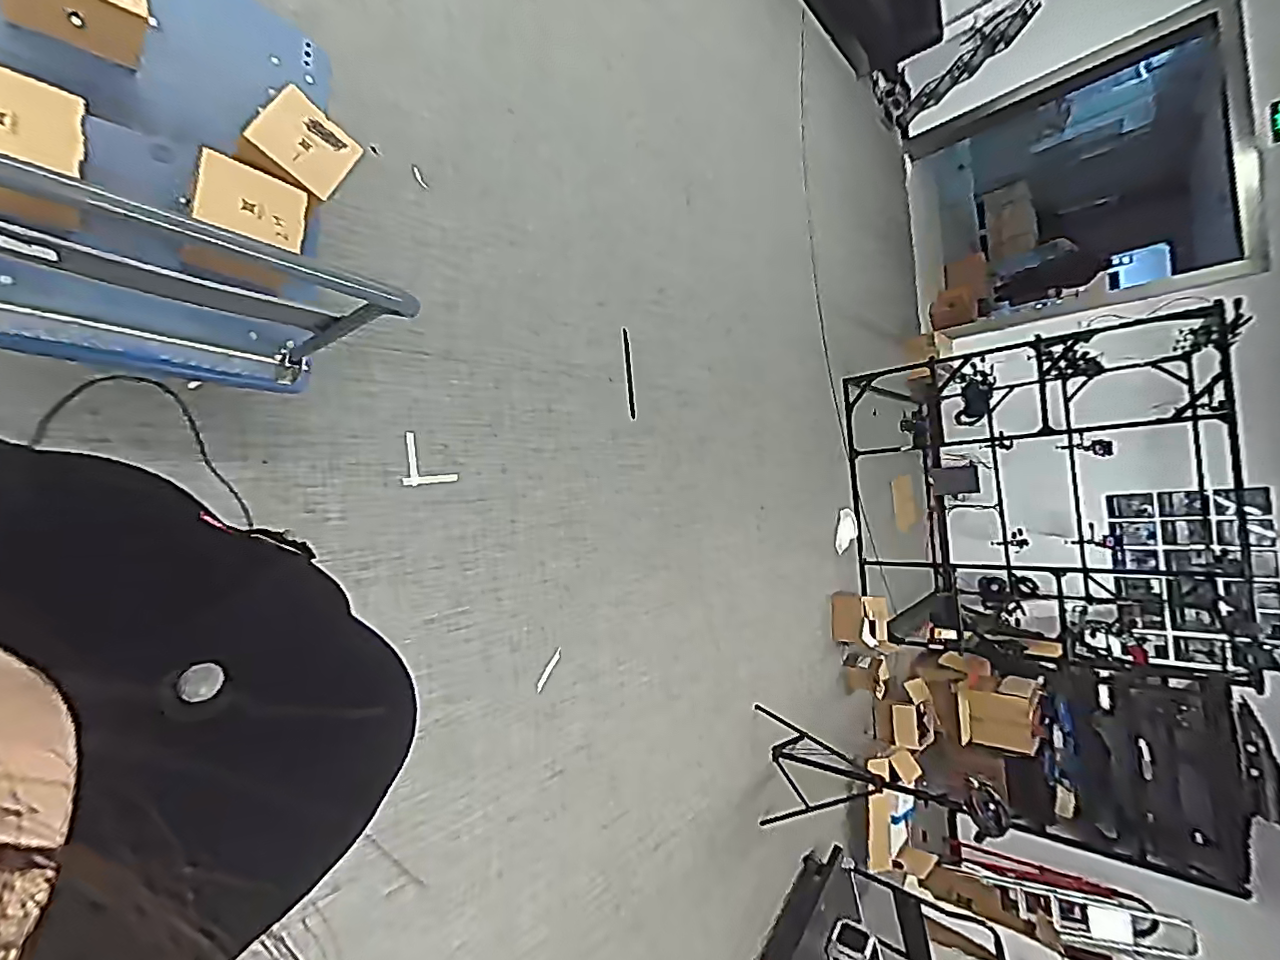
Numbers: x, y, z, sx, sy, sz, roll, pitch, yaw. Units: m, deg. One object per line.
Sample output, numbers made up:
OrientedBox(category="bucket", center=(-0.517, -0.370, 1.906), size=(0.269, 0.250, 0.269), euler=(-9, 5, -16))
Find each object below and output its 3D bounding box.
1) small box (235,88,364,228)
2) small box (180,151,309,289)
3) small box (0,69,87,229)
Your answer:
OrientedBox(category="small box", center=(-0.750, -0.693, 1.182), size=(0.168, 0.176, 0.179), euler=(38, 60, -38))
OrientedBox(category="small box", center=(-0.807, -0.513, 1.101), size=(0.179, 0.176, 0.168), euler=(11, 78, -46))
OrientedBox(category="small box", center=(-1.023, -0.535, 0.870), size=(0.179, 0.176, 0.168), euler=(3, 84, -49))
